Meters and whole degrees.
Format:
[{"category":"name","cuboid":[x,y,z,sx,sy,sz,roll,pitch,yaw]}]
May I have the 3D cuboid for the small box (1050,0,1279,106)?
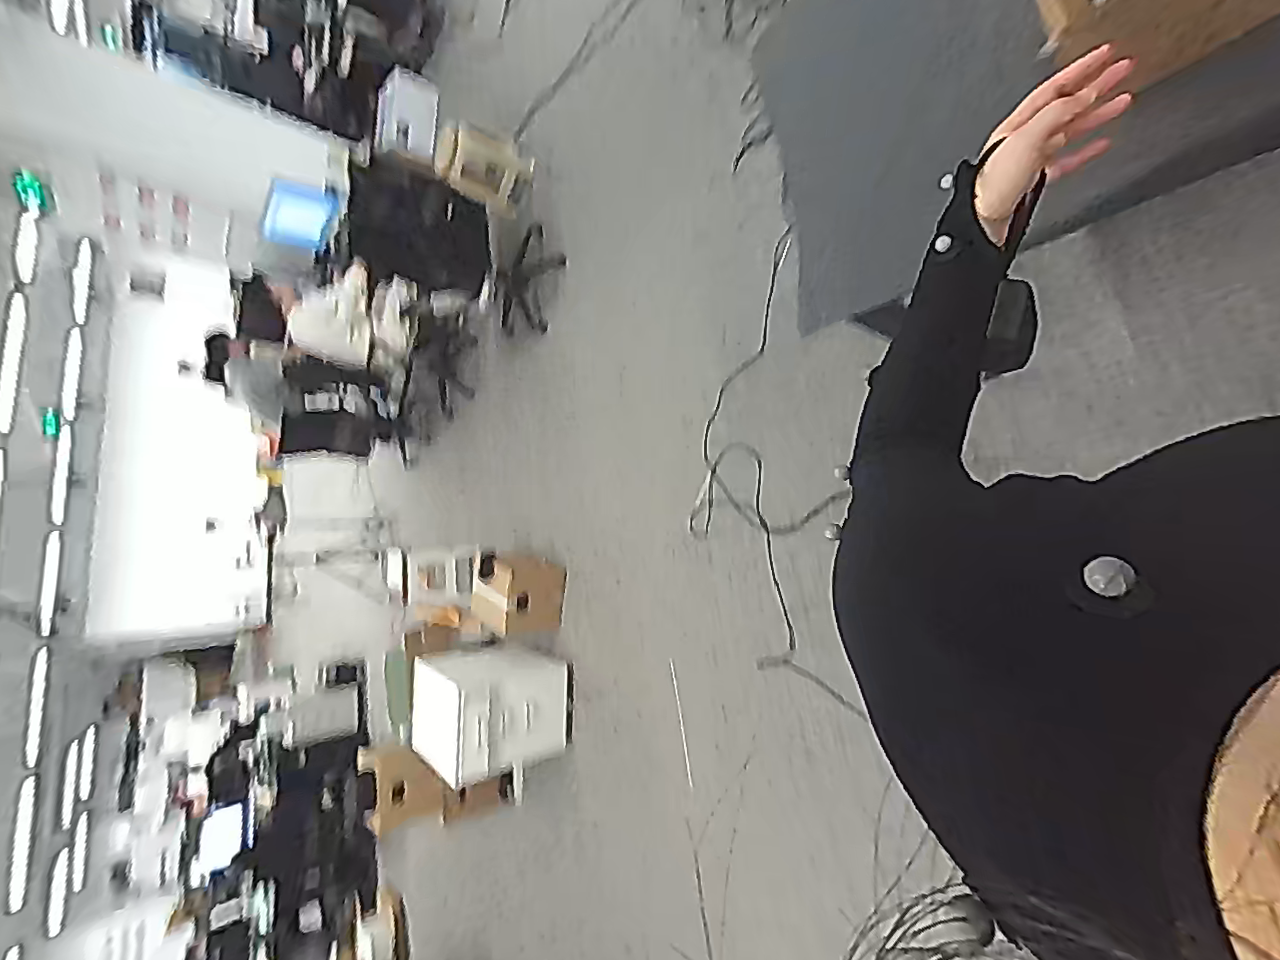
[{"category":"small box","cuboid":[0.531,-0.540,0.545,0.179,0.176,0.168,-19,72,49]}]
